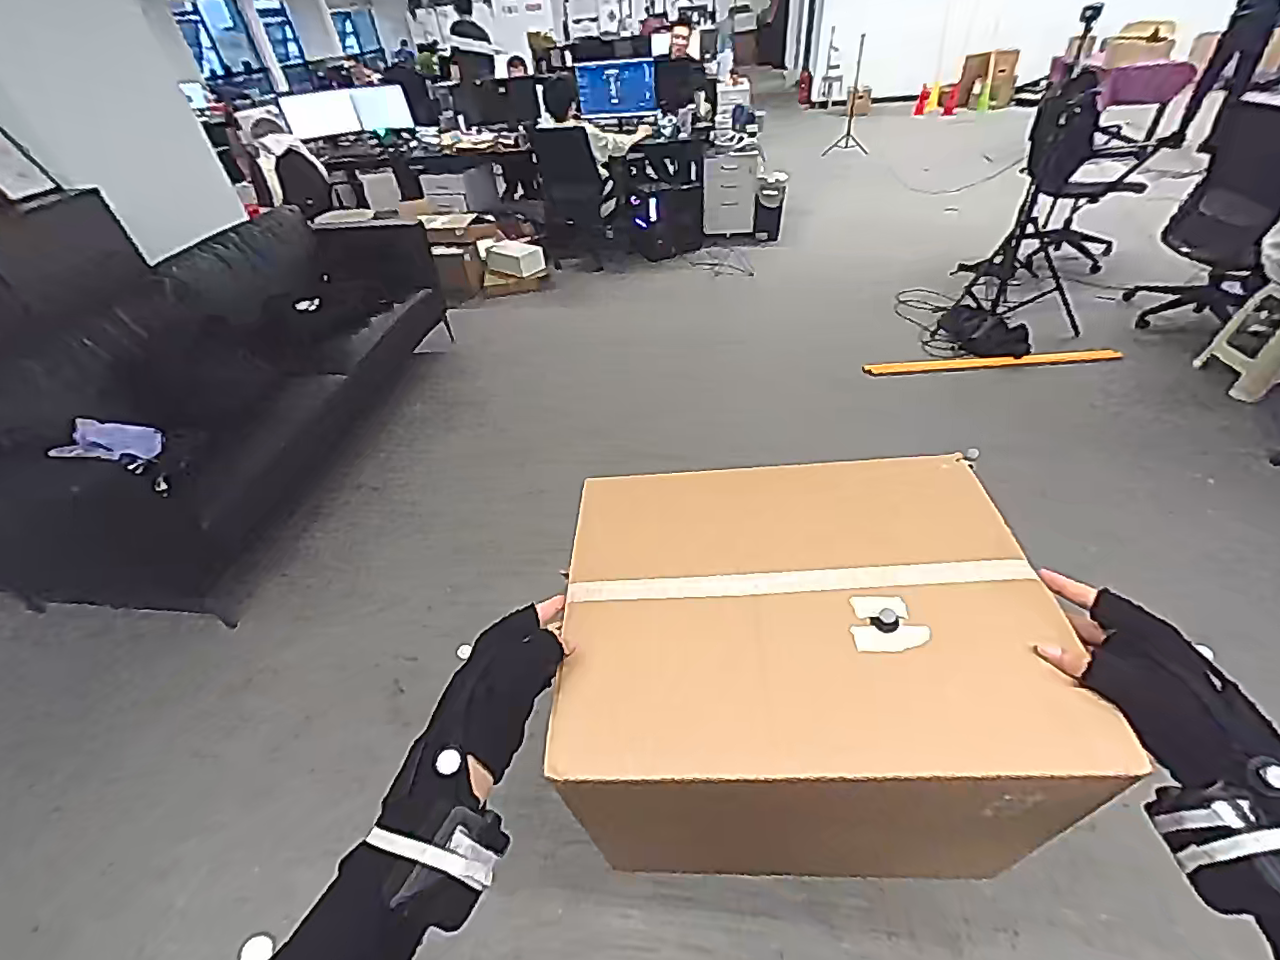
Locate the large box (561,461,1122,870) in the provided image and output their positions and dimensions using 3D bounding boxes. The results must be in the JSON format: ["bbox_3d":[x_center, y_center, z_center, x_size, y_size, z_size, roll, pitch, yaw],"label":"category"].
[{"bbox_3d":[0.152,0.205,0.593,0.408,0.320,0.320,-4,44,5],"label":"large box"}]
